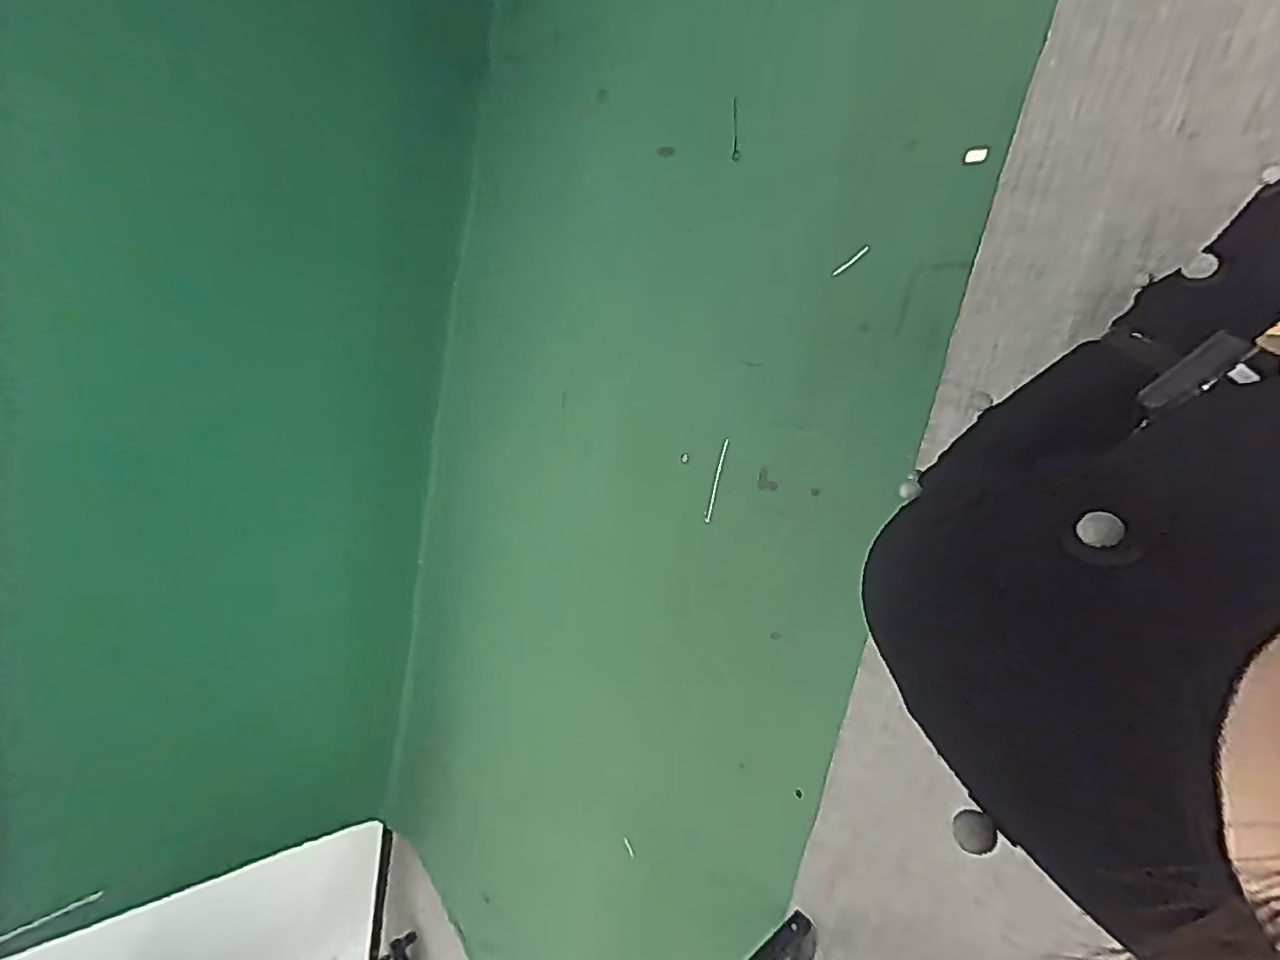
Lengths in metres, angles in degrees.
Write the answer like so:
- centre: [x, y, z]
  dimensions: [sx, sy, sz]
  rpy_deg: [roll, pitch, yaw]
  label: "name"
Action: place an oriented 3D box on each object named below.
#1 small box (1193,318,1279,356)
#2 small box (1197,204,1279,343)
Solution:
- centre: [1.141, -0.322, 0.963]
  dimensions: [0.168, 0.176, 0.179]
  rpy_deg: [27, 111, 44]
  label: "small box"
- centre: [1.024, -0.319, 0.851]
  dimensions: [0.168, 0.176, 0.179]
  rpy_deg: [24, 108, 46]
  label: "small box"
